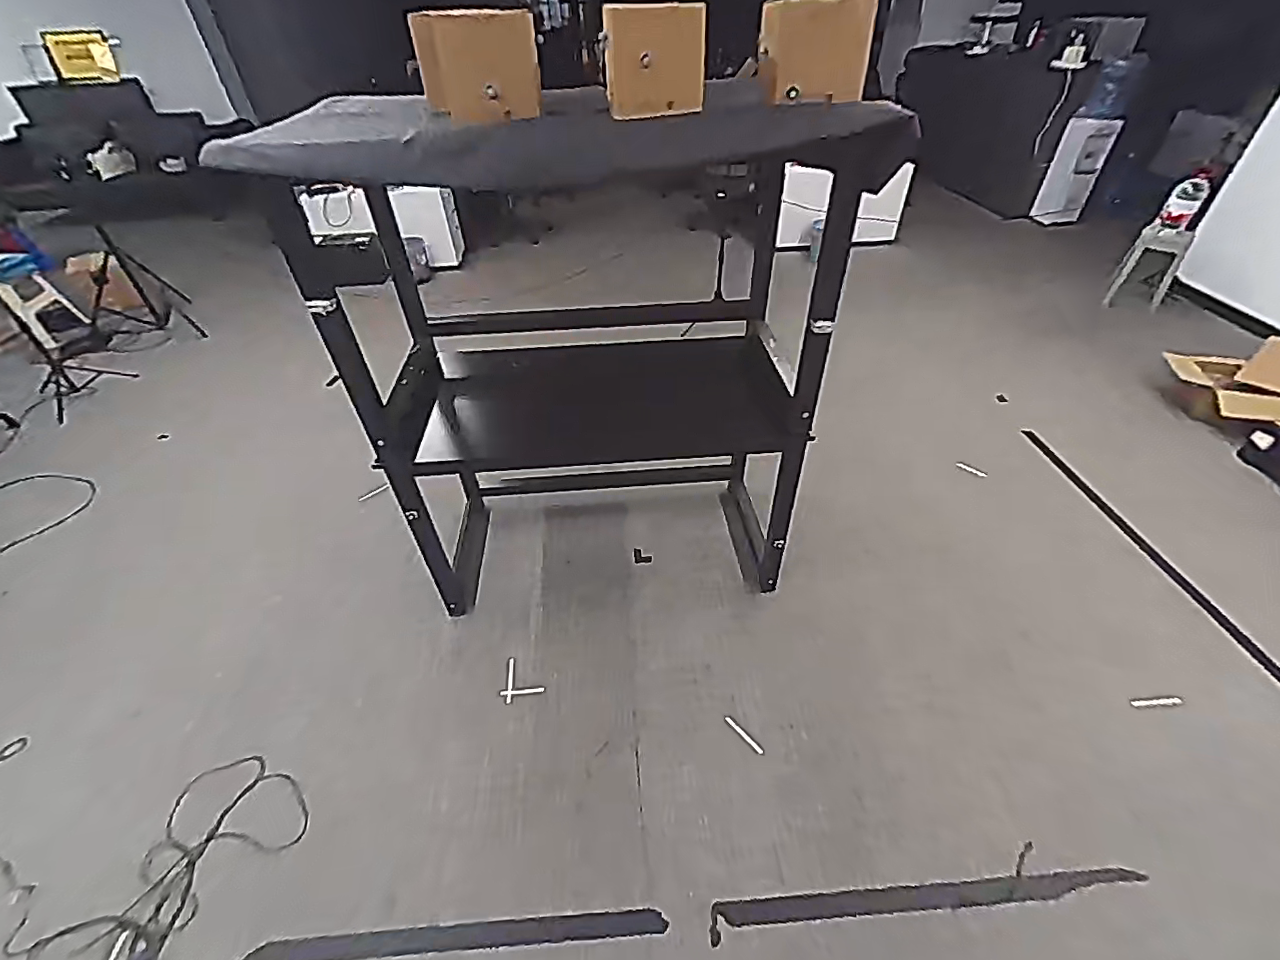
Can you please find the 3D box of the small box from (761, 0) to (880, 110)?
[{"bbox_3d":[0.332,-0.809,1.024,0.168,0.176,0.179,-3,38,0],"label":"small box"}]

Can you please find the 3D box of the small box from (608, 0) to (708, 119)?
[{"bbox_3d":[0.031,-0.786,1.017,0.168,0.176,0.179,-5,40,-3],"label":"small box"}]
